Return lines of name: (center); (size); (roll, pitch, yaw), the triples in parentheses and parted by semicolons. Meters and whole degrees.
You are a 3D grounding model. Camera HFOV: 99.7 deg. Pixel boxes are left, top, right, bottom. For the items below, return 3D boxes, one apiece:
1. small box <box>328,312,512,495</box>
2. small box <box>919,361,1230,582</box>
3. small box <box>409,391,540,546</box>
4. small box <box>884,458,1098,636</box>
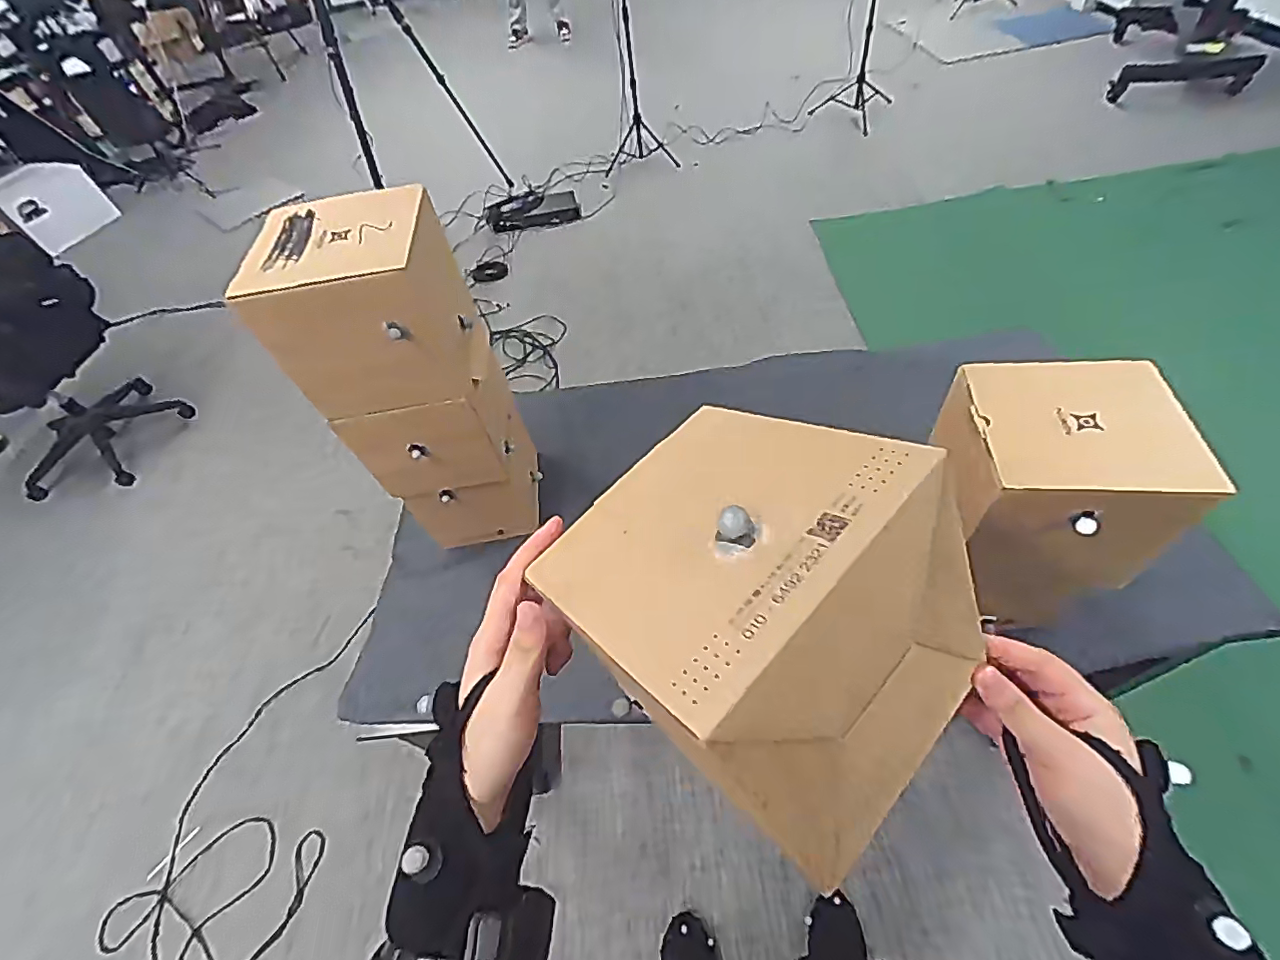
small box: (-0.284, -0.099, 0.746); (0.179, 0.176, 0.168); (-10, 54, 2)
small box: (0.417, -0.005, 0.562); (0.179, 0.176, 0.168); (1, 53, 12)
small box: (-0.265, -0.016, 0.889); (0.168, 0.176, 0.179); (-10, 54, 0)
small box: (0.437, 0.082, 0.699); (0.168, 0.176, 0.179); (-7, 52, 5)
